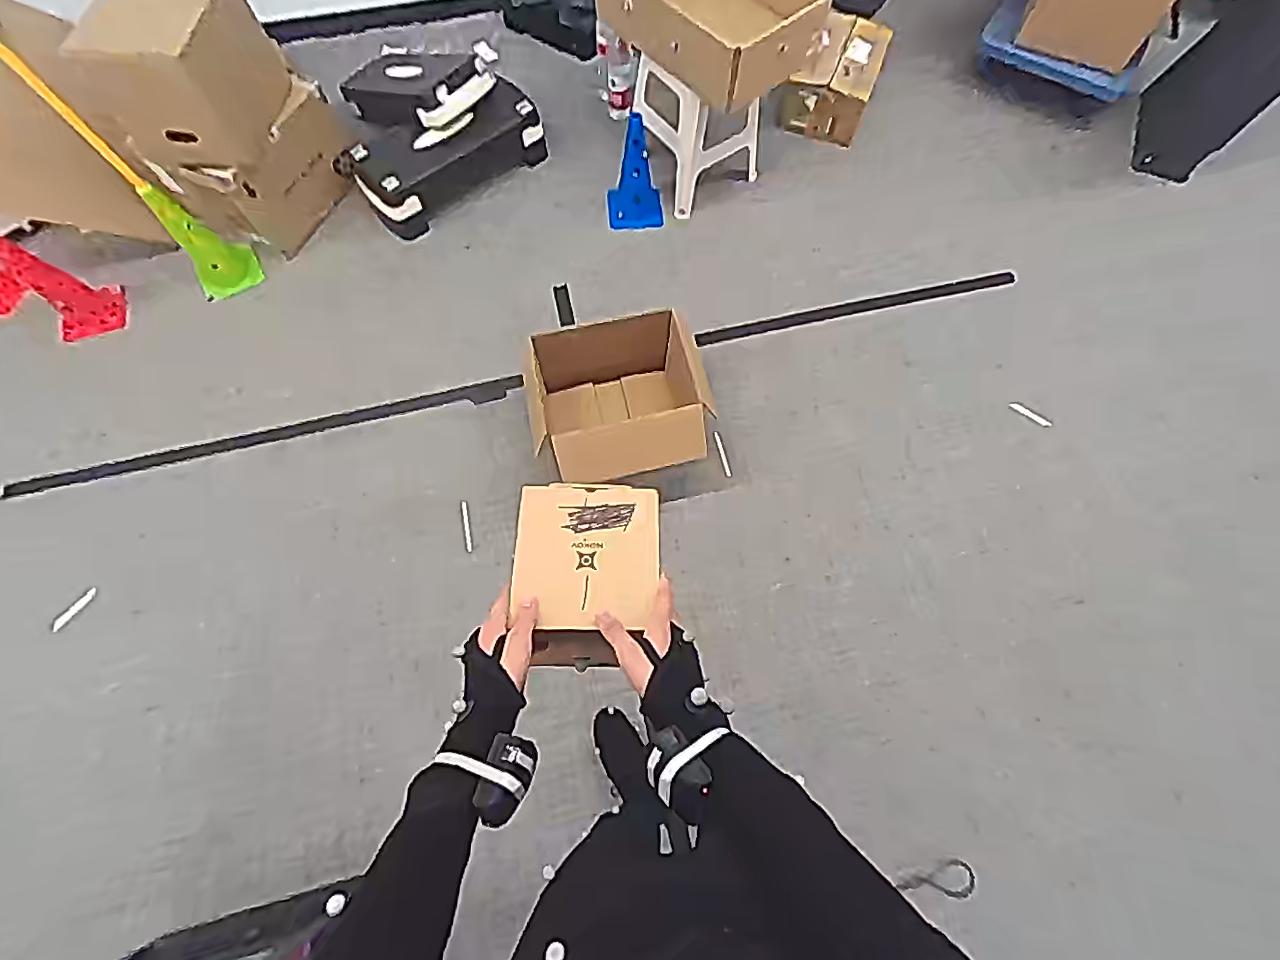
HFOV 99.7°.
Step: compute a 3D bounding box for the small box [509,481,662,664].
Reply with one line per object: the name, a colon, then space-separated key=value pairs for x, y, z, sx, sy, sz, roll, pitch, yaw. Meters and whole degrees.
small box: x=-0.062 y=0.121 z=0.682 sx=0.168 sy=0.176 sz=0.179 roll=3 pitch=59 yaw=-3
